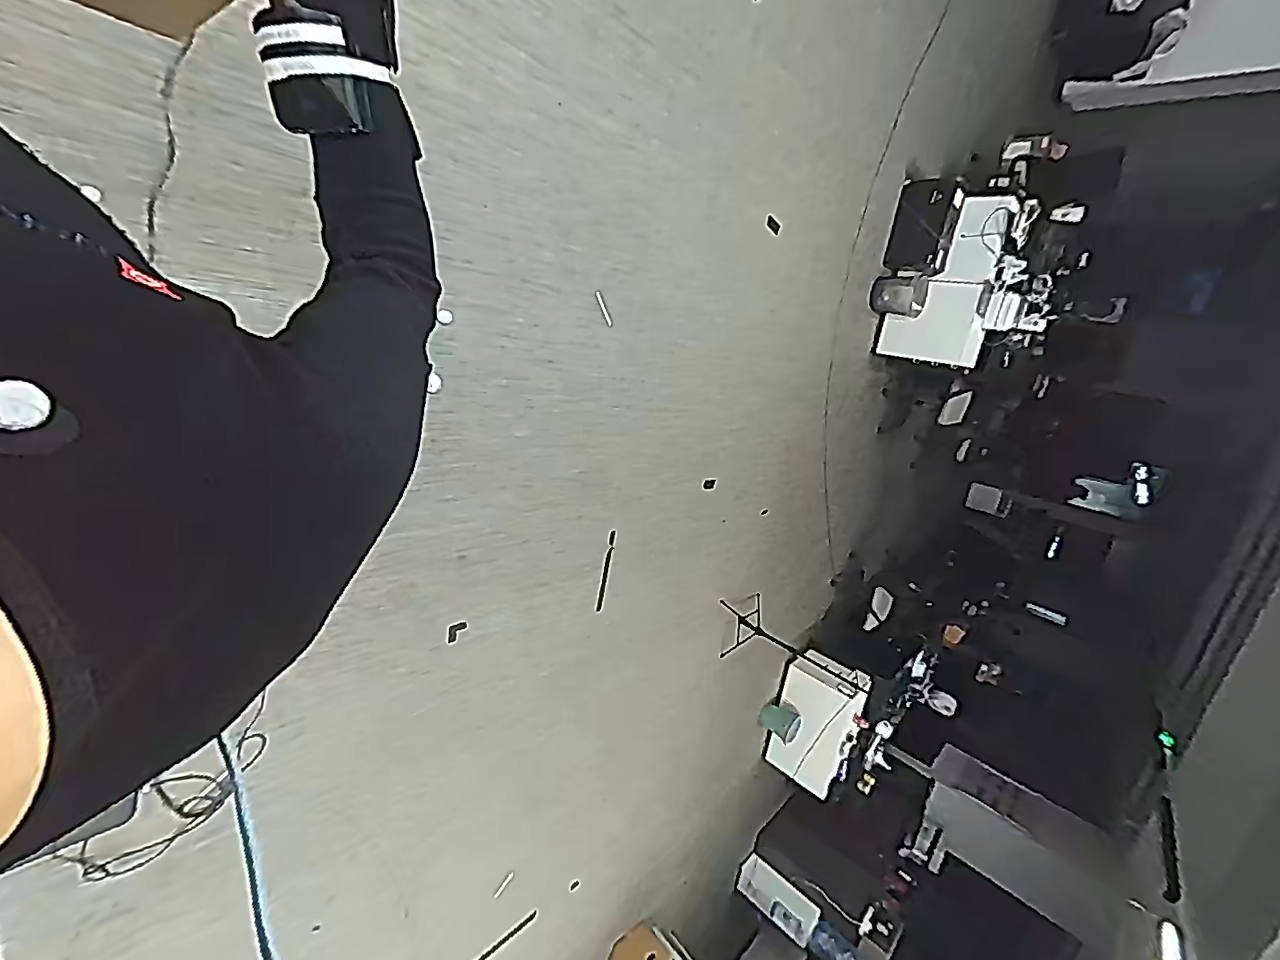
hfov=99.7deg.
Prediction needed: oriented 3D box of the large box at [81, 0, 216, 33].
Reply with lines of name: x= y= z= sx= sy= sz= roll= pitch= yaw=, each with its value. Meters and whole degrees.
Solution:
large box: x=-0.435 y=-0.489 z=0.231 sx=0.408 sy=0.320 sz=0.320 roll=-10 pitch=117 yaw=-48
